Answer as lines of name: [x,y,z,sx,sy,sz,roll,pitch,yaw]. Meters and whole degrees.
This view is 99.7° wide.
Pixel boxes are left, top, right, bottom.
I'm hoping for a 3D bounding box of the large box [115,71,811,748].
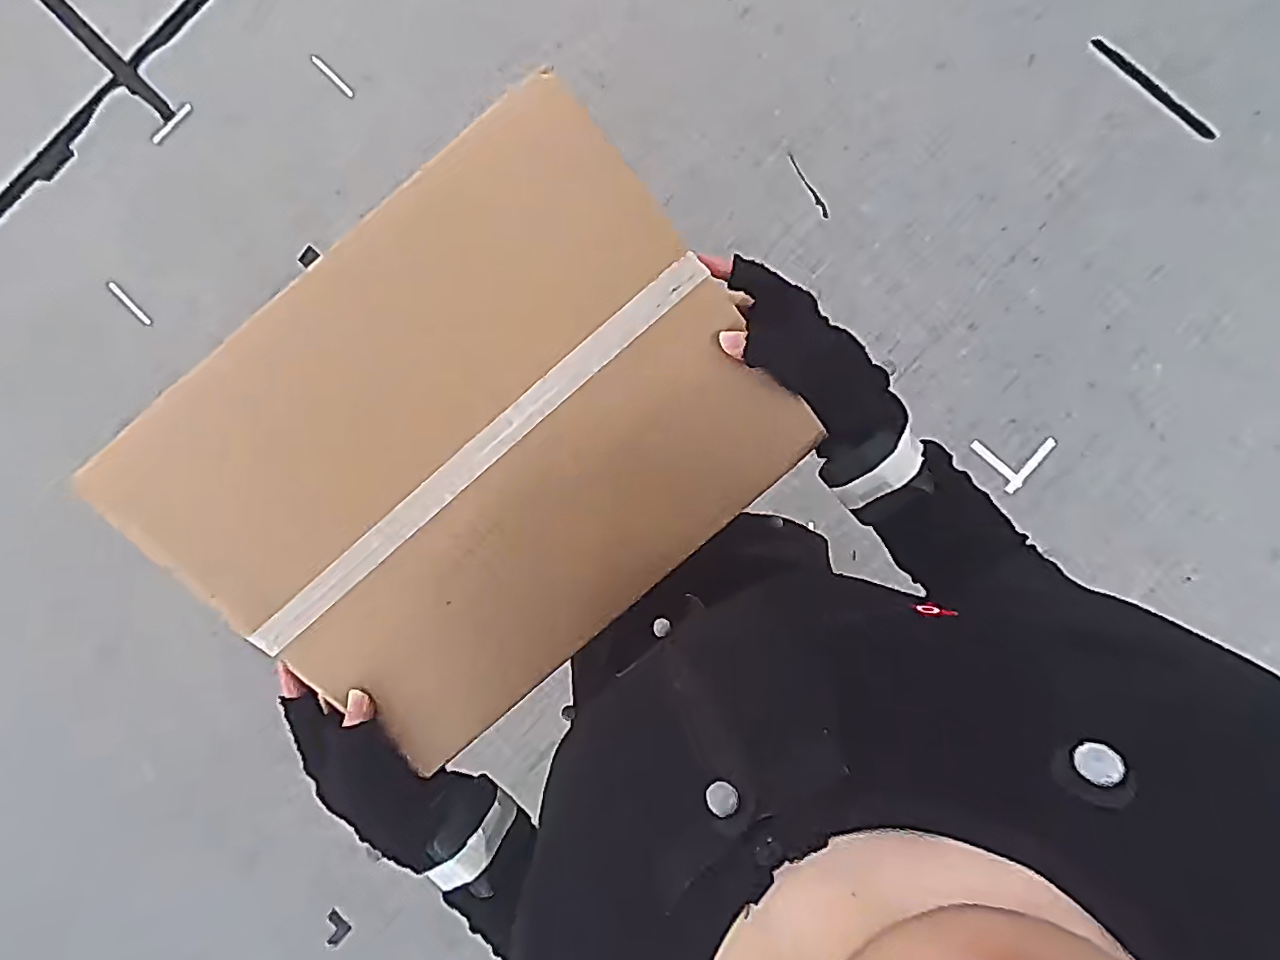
large box: [-0.130,-0.052,0.533,0.408,0.320,0.320,-40,104,1]
